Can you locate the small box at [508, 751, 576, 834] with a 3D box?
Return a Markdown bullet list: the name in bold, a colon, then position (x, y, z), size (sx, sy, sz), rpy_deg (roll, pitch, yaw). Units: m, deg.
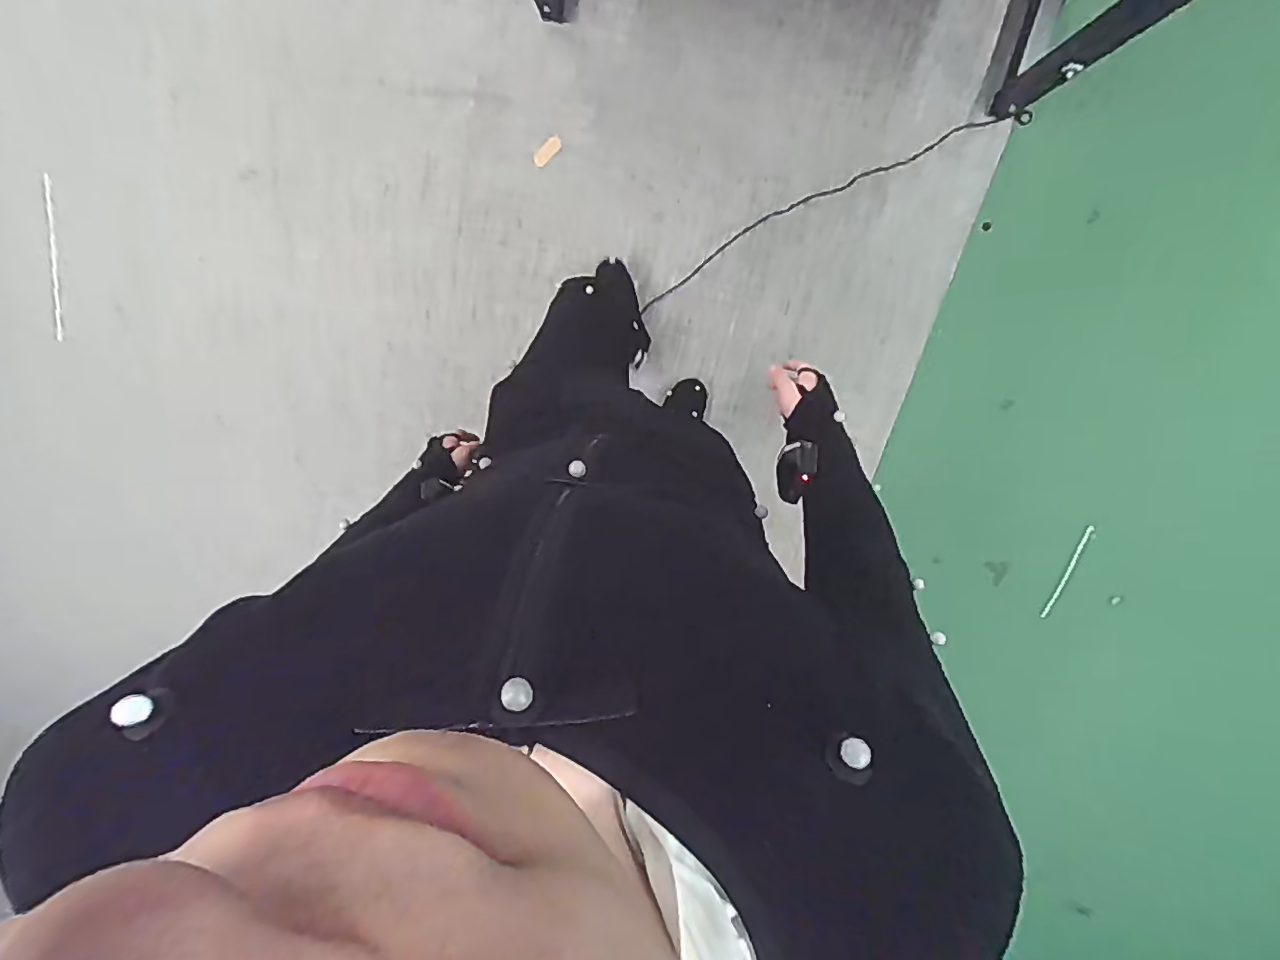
- **small box**: position (-0.338, 1.085, 1.891), size (0.179, 0.176, 0.168), rpy_deg (17, 107, -1)
